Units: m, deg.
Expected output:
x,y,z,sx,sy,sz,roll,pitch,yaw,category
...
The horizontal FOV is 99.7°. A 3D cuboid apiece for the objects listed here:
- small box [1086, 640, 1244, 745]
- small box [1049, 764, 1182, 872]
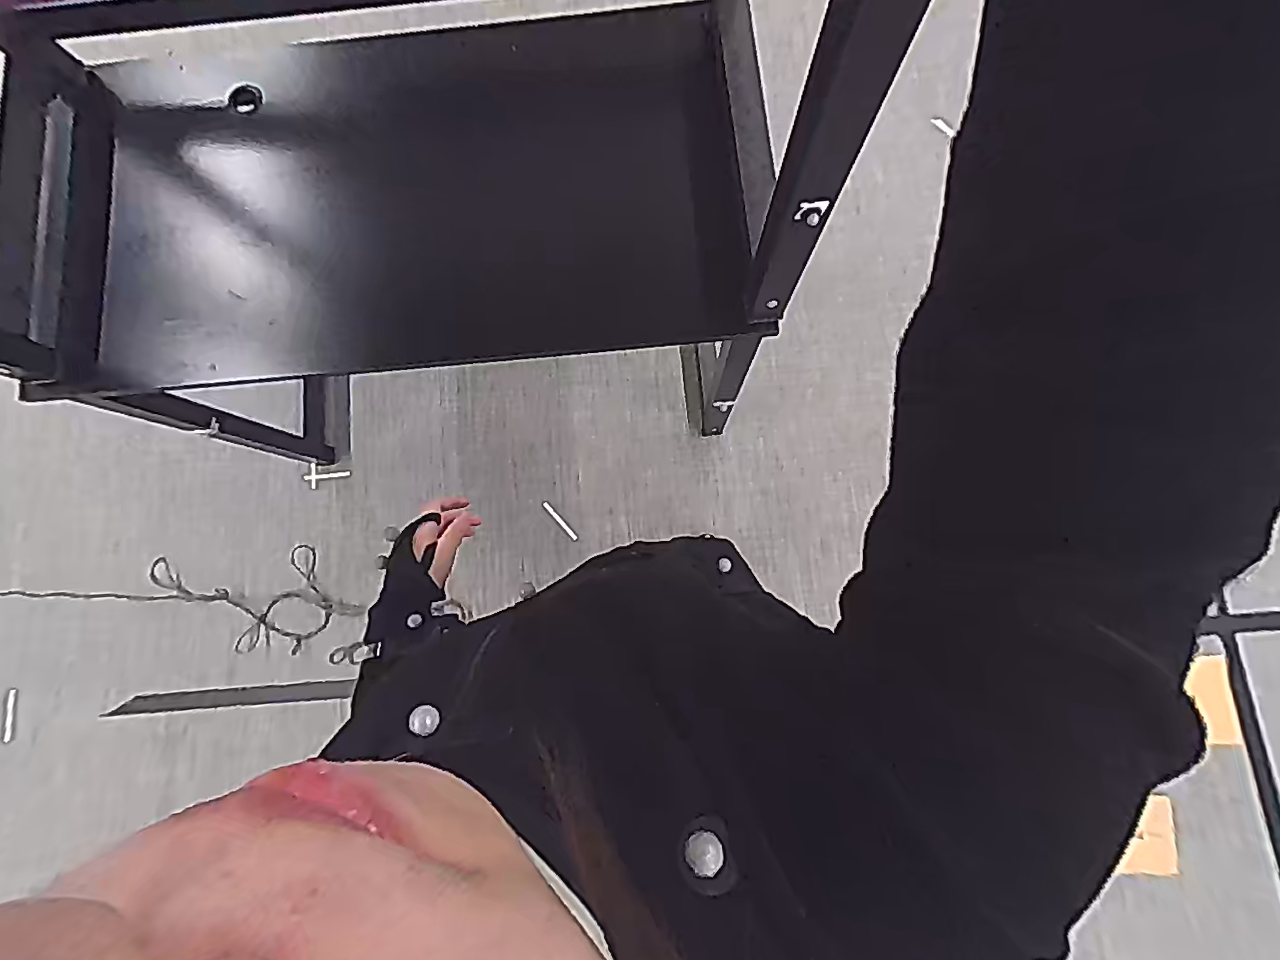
x,y,z,sx,sy,sz,roll,pitch,yaw,category
1.122,0.453,1.171,0.168,0.176,0.179,-4,81,1,small box
1.117,0.797,1.290,0.179,0.176,0.168,0,82,2,small box
